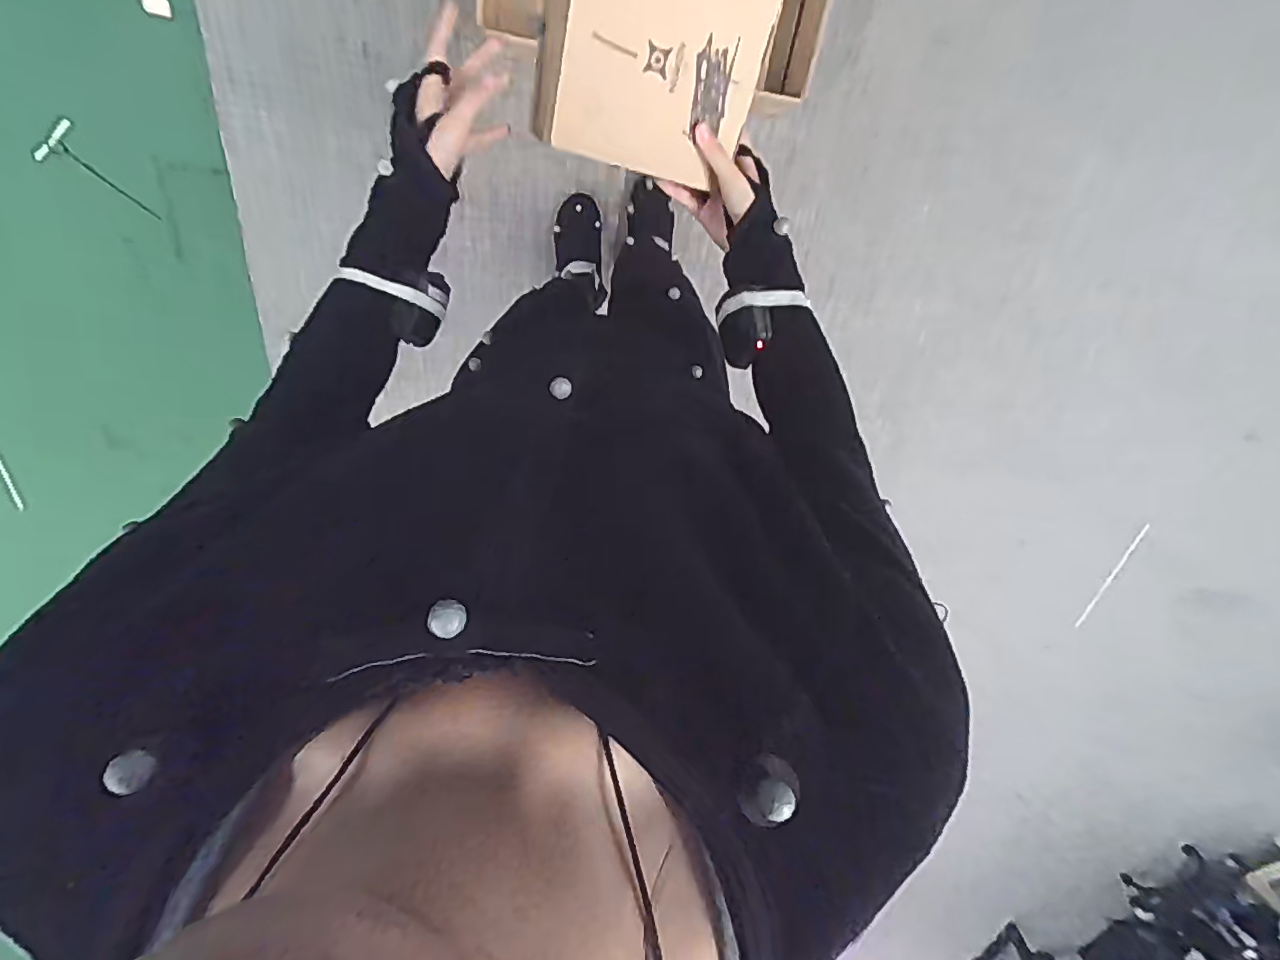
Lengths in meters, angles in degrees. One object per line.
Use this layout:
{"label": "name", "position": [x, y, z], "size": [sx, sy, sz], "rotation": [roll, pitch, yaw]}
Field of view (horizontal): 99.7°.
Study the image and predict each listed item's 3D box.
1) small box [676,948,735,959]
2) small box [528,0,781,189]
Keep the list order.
{"label": "small box", "position": [0.203, 1.545, 1.631], "size": [0.179, 0.176, 0.168], "rotation": [3, 120, -5]}
{"label": "small box", "position": [-0.001, -0.402, 0.515], "size": [0.179, 0.176, 0.168], "rotation": [5, 124, -21]}
